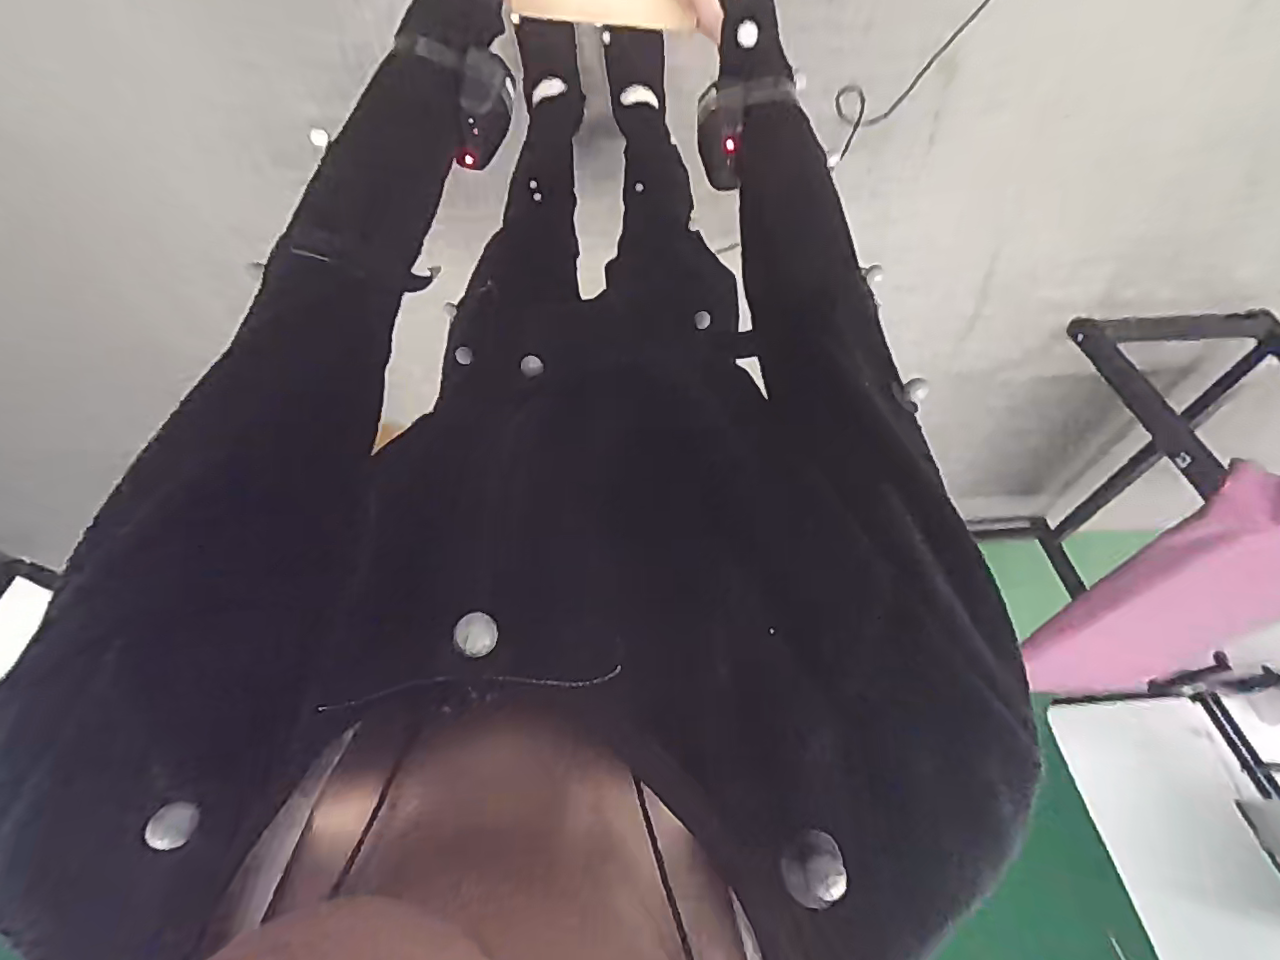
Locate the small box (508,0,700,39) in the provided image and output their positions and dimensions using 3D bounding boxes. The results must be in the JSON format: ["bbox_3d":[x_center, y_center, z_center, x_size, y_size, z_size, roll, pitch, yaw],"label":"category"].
[{"bbox_3d":[-0.035,-0.533,0.499,0.179,0.176,0.168,-1,136,-8],"label":"small box"}]
